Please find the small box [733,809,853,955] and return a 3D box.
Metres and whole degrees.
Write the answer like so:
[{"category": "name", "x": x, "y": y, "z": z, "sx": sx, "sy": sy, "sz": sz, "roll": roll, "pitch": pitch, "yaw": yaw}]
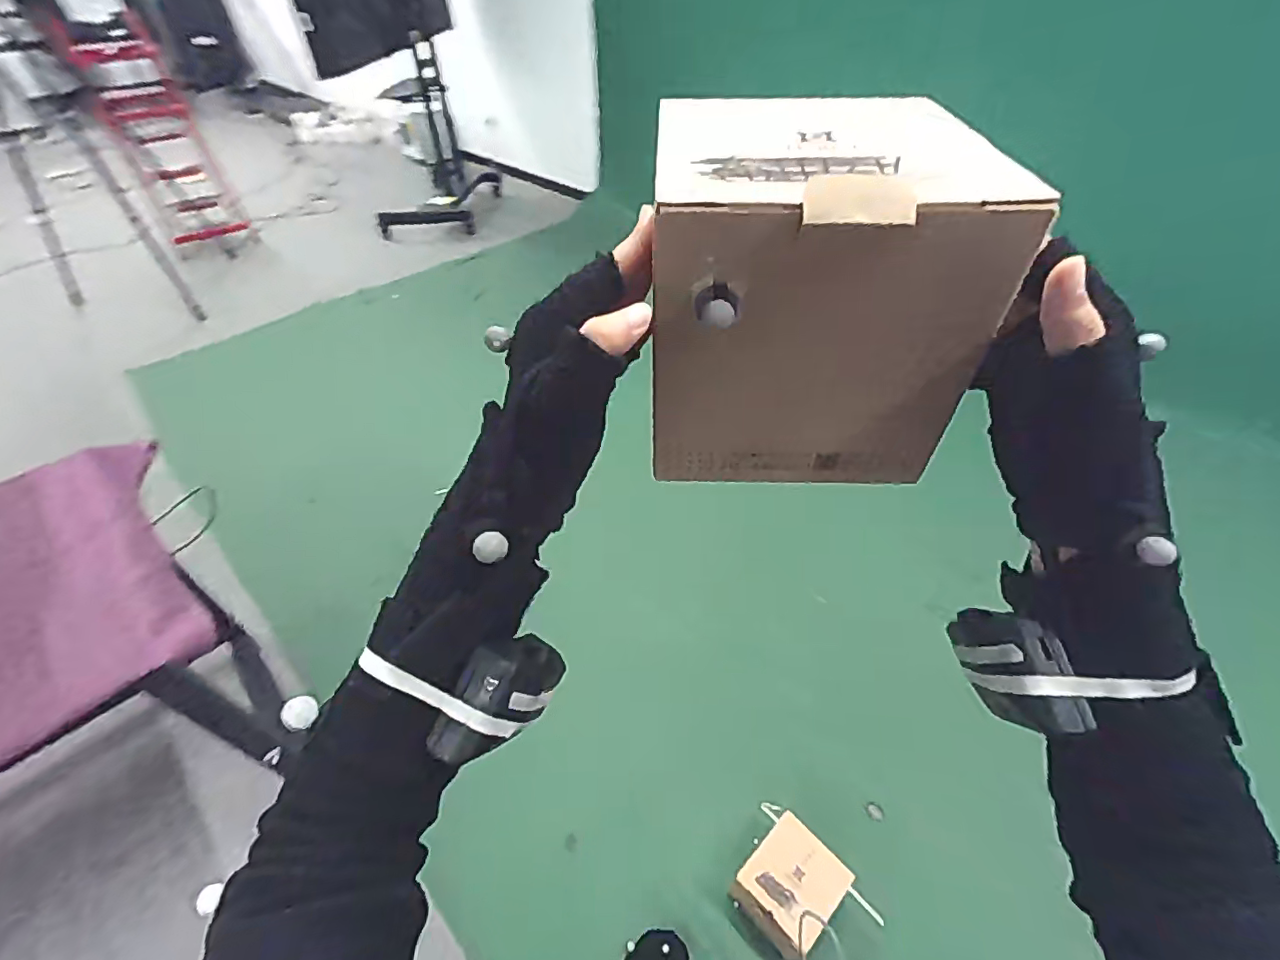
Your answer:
[{"category": "small box", "x": 0.310, "y": 0.842, "z": 1.130, "sx": 0.179, "sy": 0.176, "sz": 0.168, "roll": -33, "pitch": 55, "yaw": -29}]
